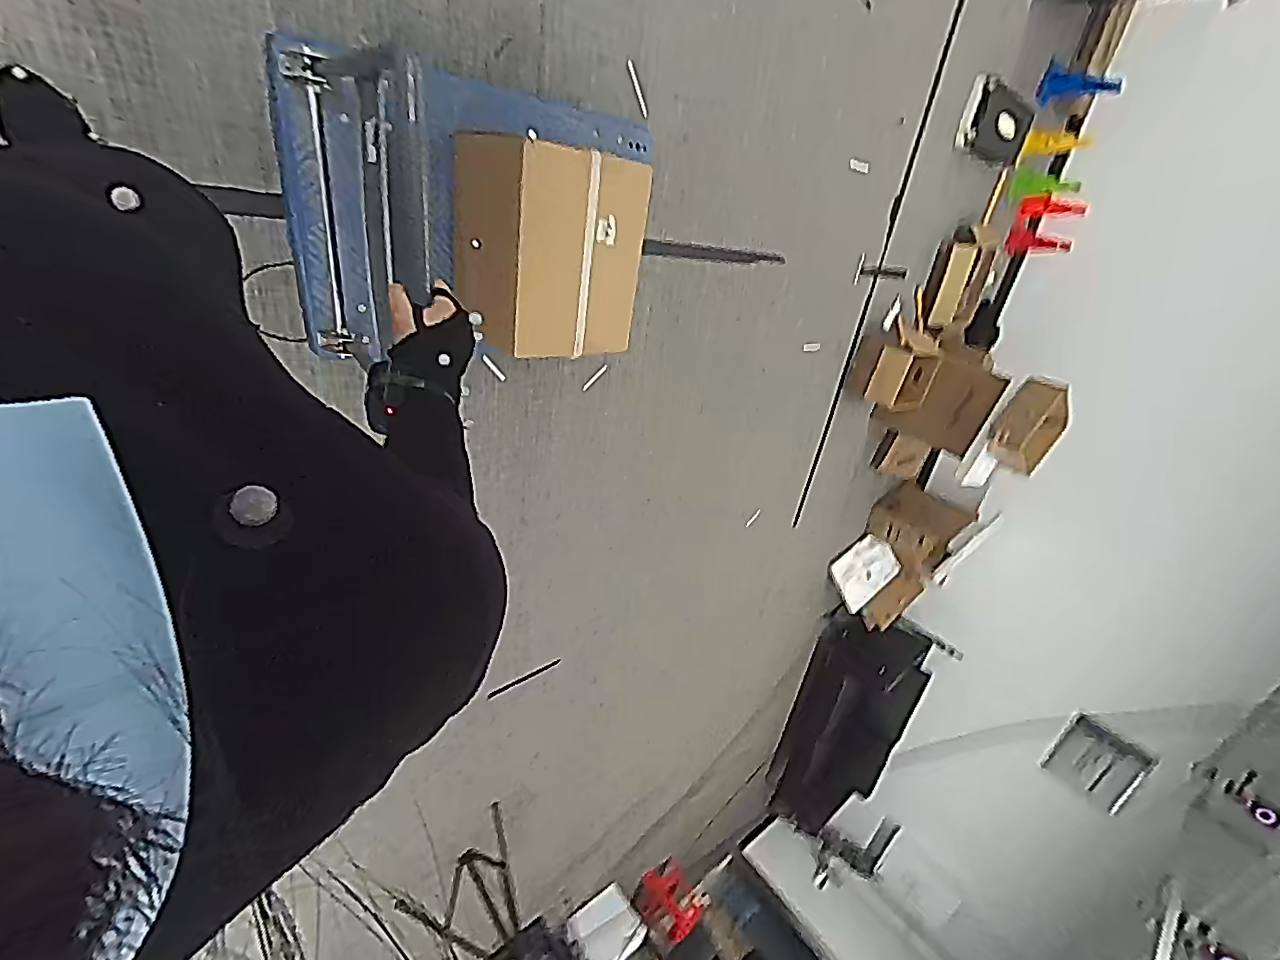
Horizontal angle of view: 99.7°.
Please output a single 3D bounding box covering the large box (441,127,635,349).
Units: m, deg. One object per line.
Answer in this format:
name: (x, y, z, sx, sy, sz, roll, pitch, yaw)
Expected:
large box: (-0.244, -0.542, 1.238, 0.320, 0.320, 0.408, -16, 125, -40)
